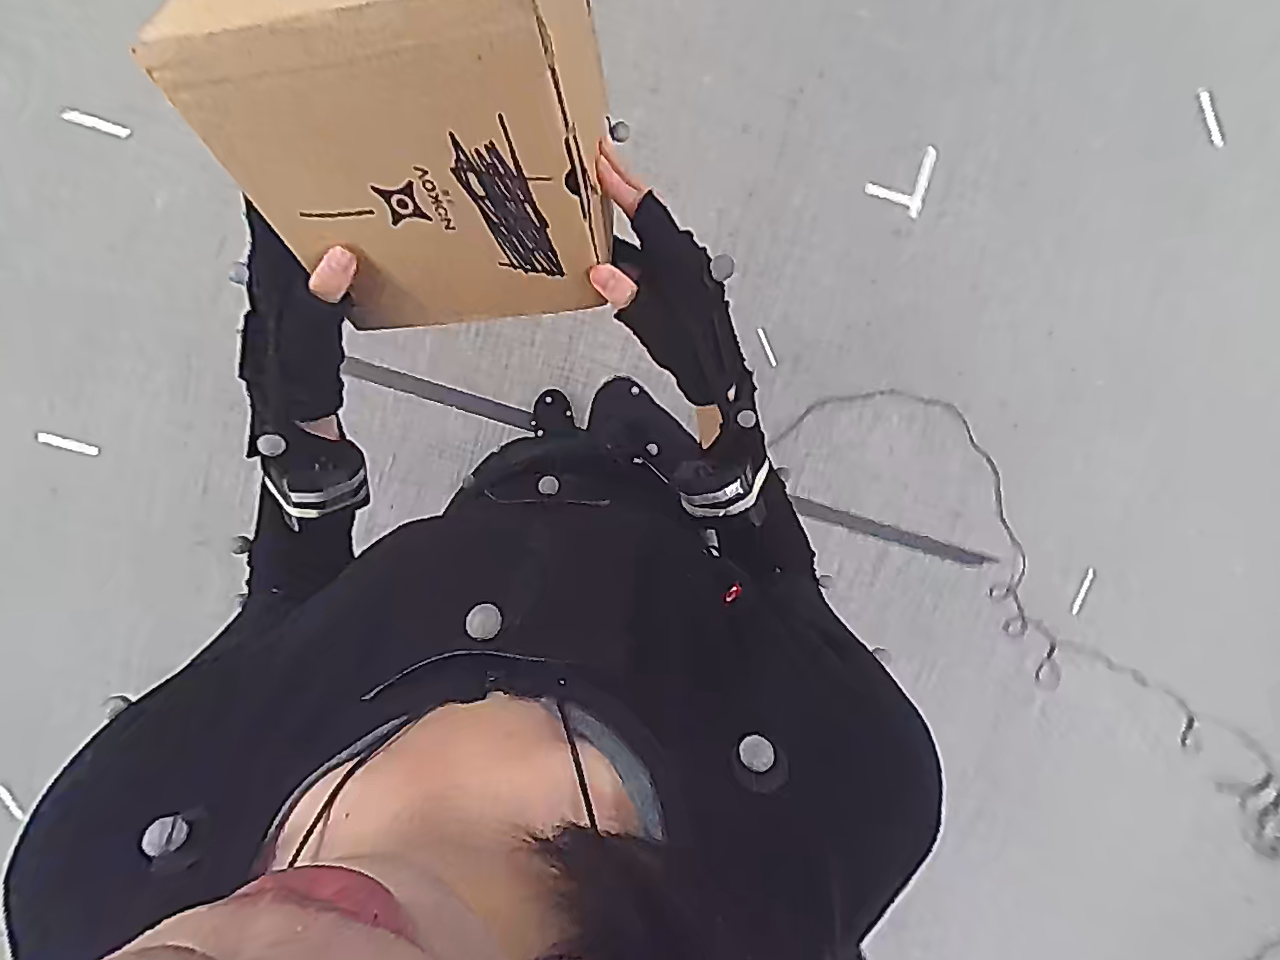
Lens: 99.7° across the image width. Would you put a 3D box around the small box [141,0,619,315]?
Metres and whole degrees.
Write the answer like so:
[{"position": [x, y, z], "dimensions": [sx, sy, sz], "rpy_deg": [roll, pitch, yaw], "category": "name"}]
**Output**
[{"position": [-0.107, -0.221, 0.314], "dimensions": [0.179, 0.168, 0.176], "rpy_deg": [-2, 60, 6], "category": "small box"}]
